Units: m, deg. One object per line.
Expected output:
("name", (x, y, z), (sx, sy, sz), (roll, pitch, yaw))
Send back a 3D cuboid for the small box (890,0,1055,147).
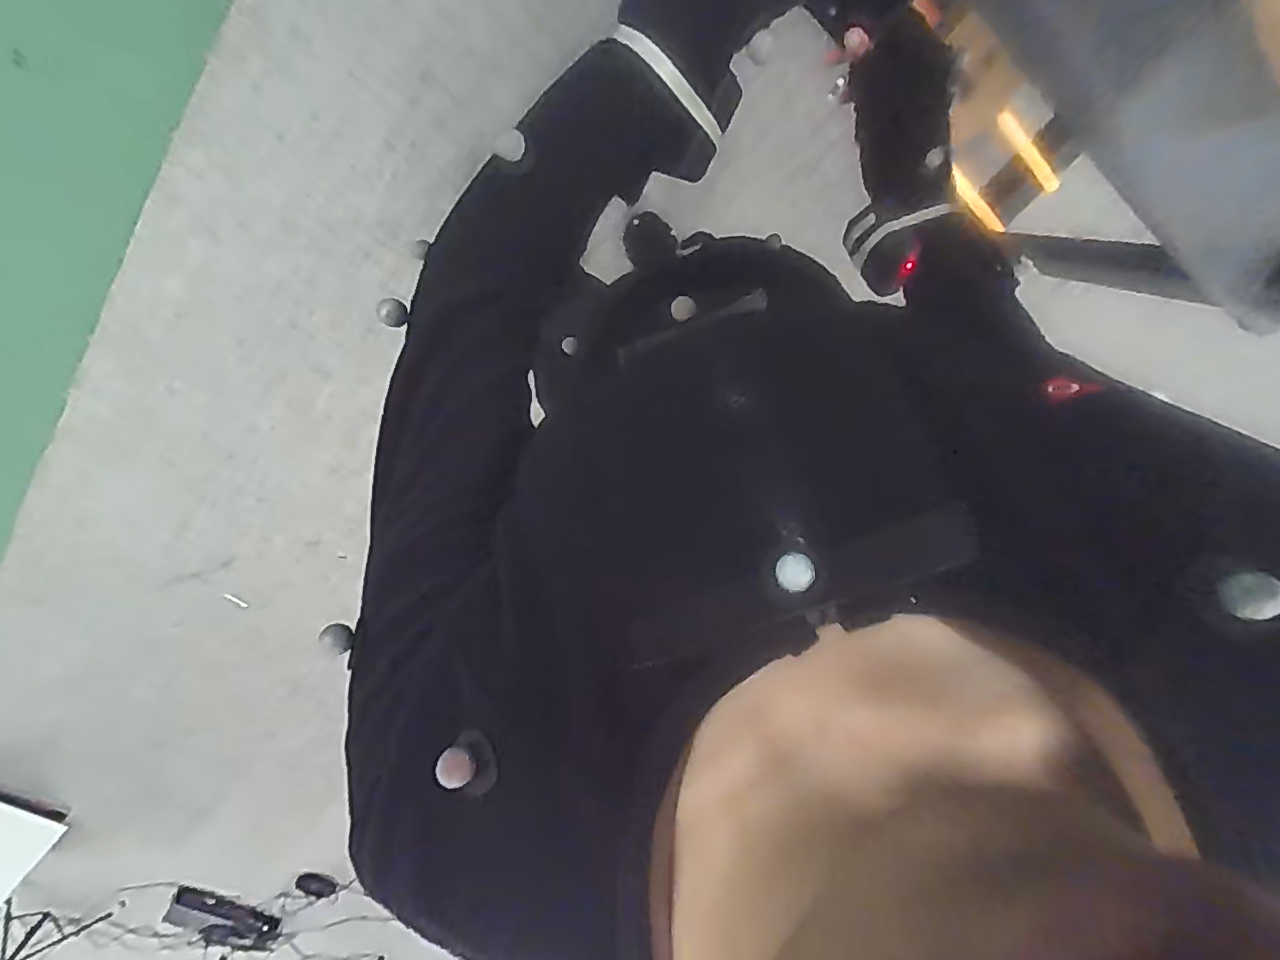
("small box", (0.590, -0.748, 0.992), (0.168, 0.176, 0.179), (40, 110, -19))
